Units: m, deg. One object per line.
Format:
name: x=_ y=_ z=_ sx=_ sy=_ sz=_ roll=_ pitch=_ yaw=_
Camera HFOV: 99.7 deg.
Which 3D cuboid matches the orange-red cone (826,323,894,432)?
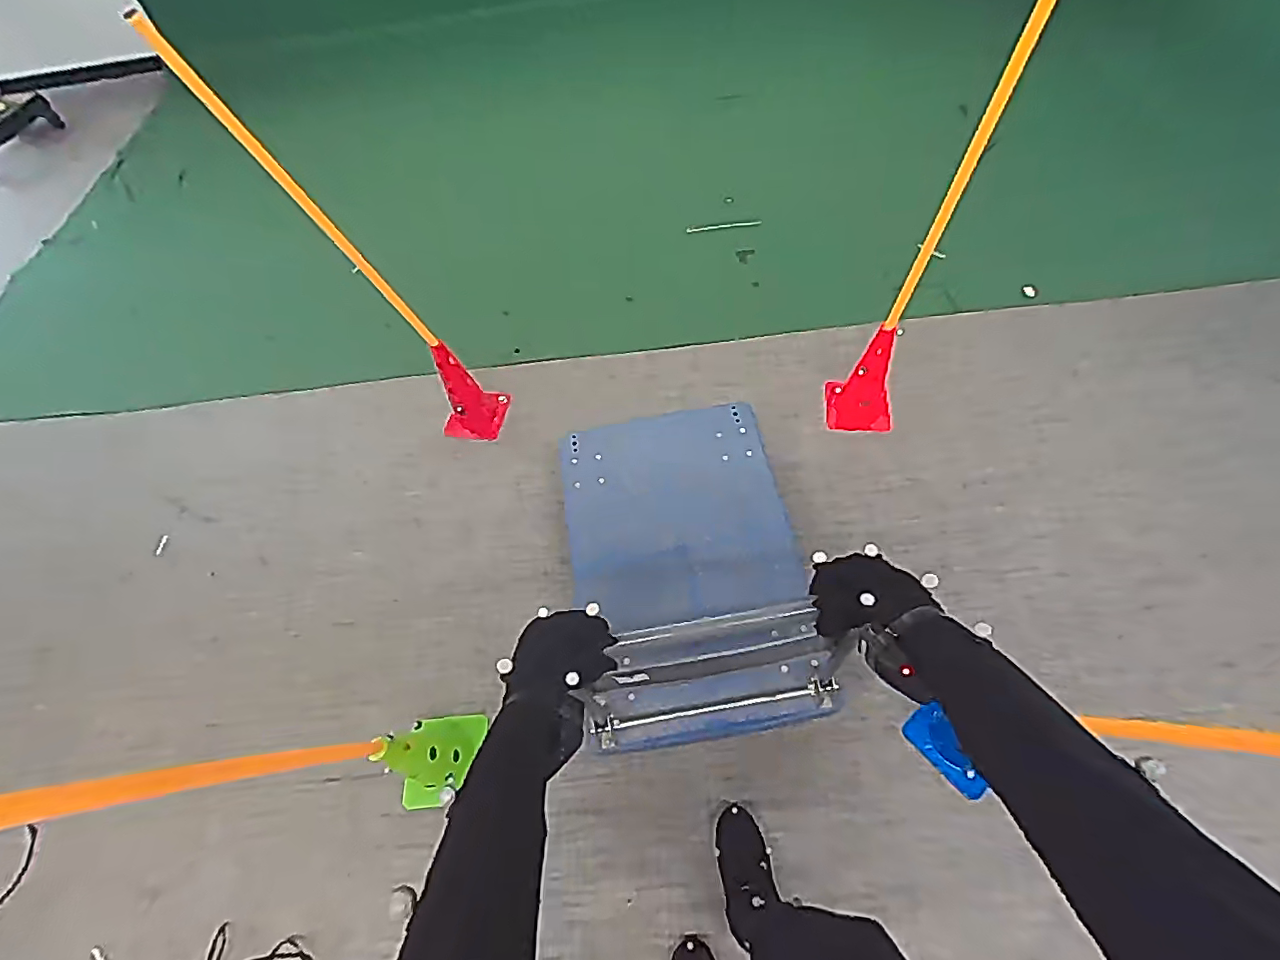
orange-red cone: x=0.690 y=-0.323 z=1.615 sx=0.198 sy=0.360 sz=0.199 roll=4 pitch=61 yaw=10
